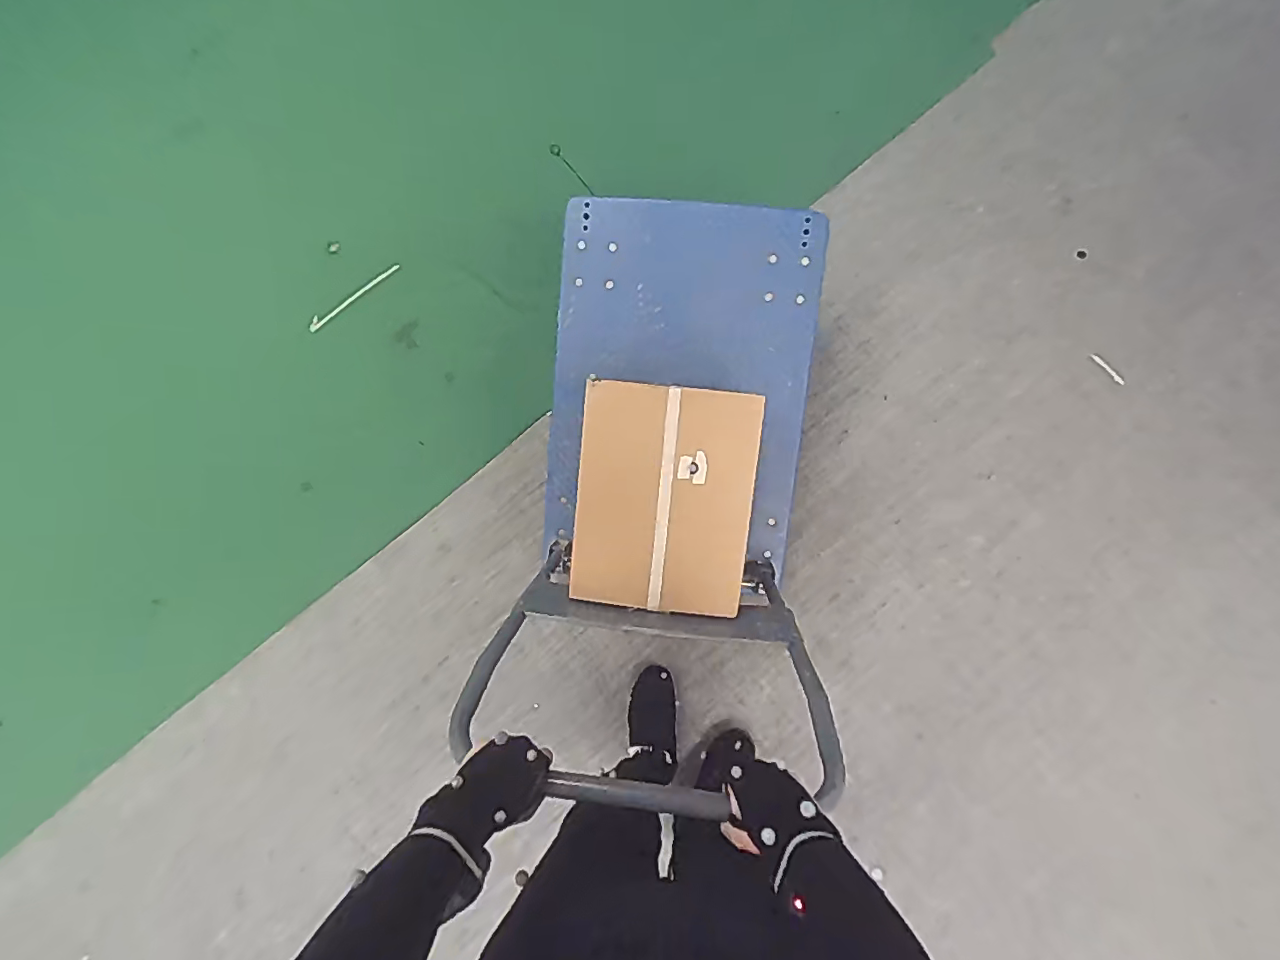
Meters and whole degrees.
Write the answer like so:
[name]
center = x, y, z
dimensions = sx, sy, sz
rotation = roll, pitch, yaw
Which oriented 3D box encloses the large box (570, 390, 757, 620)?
[large box]
center = 0.052, 0.034, 1.131
dimensions = 0.320, 0.320, 0.408
rotation = 7, 97, 4
